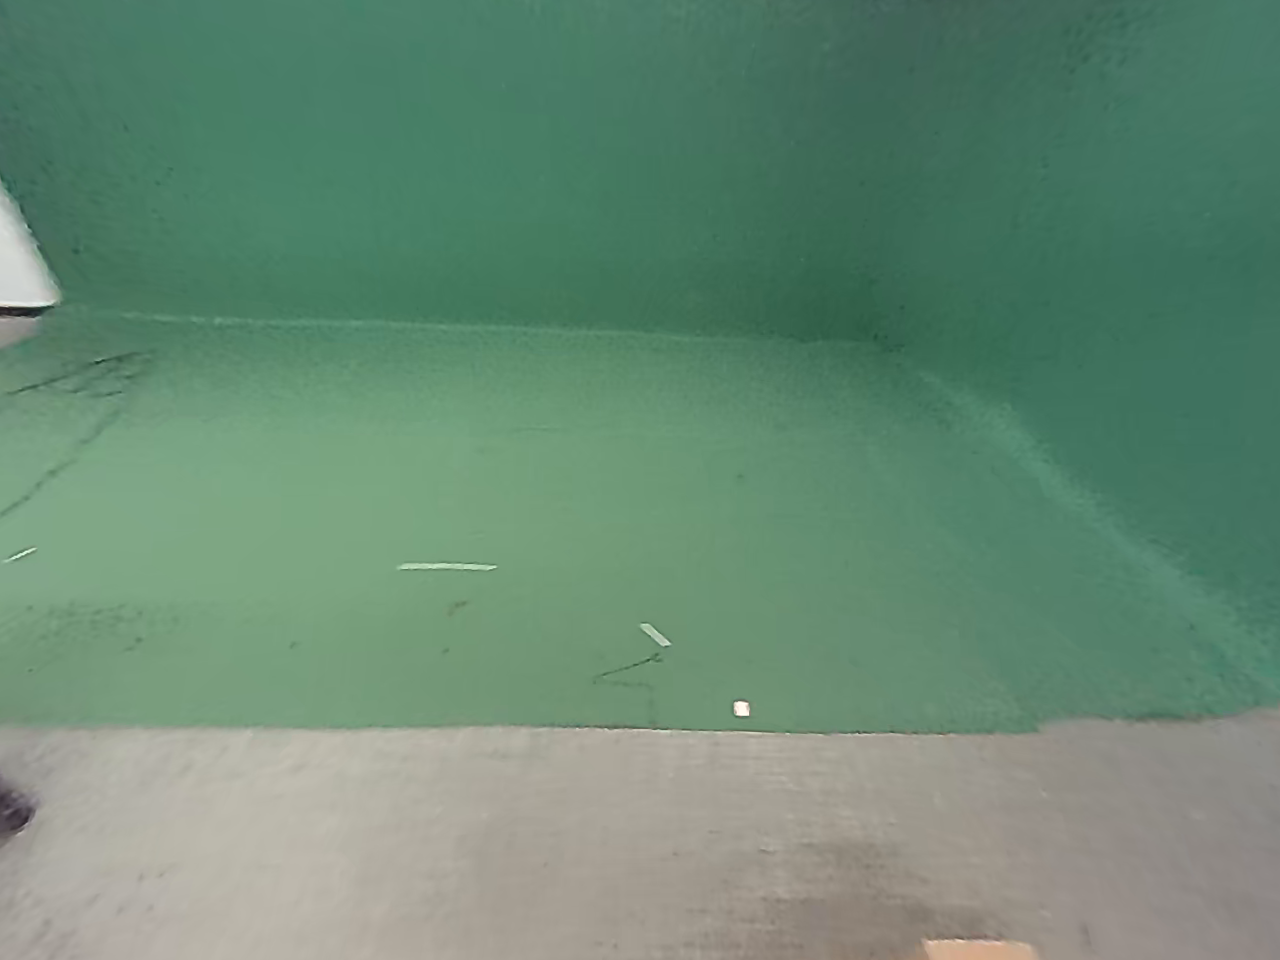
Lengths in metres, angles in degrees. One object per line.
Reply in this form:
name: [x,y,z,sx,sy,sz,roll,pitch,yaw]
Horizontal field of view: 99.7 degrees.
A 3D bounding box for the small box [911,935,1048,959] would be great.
small box: [0.533,0.829,0.827,0.179,0.176,0.168,4,35,-2]
